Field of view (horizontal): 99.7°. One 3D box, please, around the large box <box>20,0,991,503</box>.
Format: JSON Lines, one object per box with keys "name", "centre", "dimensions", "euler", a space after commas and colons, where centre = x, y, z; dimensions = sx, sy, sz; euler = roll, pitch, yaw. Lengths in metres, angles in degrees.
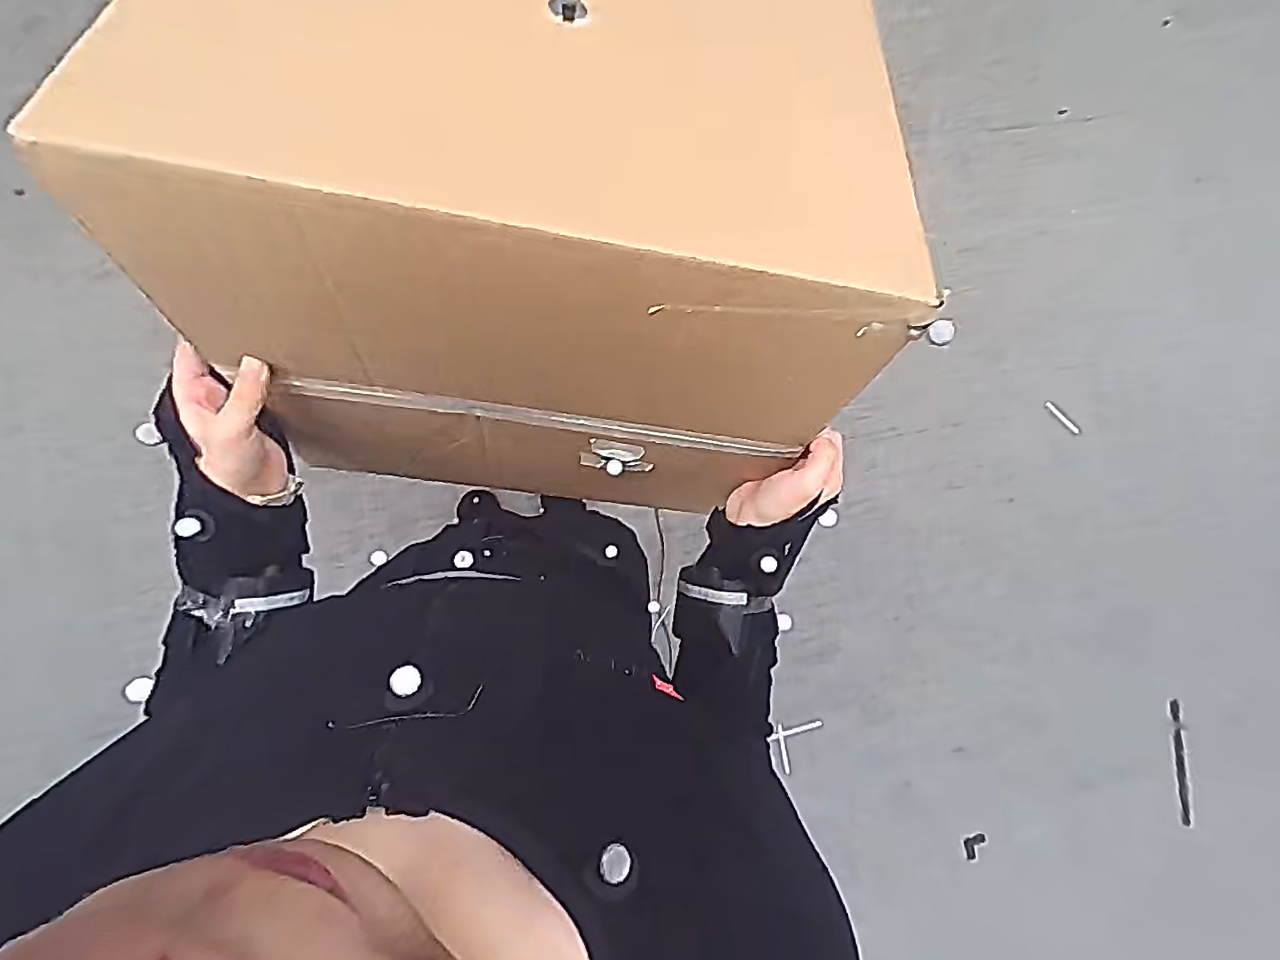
{"name": "large box", "centre": [-0.054, -0.196, 0.416], "dimensions": [0.408, 0.320, 0.320], "euler": [6, 66, -8]}
